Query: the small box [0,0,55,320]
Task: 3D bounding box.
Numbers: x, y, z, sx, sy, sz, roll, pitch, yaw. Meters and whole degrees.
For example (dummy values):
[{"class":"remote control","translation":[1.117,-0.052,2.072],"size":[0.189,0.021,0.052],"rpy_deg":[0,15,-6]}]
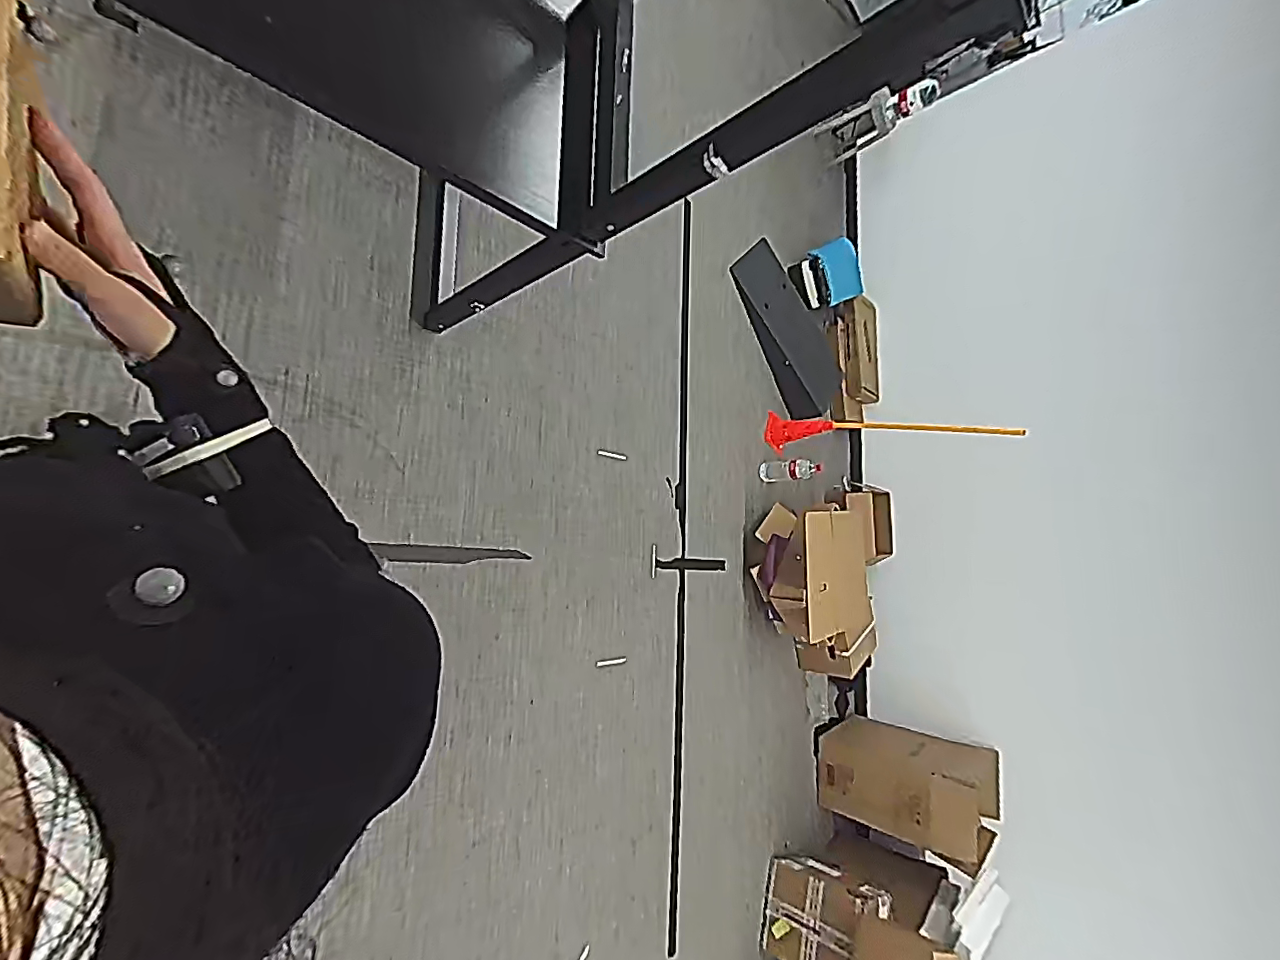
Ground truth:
[{"class":"small box","translation":[-0.409,-0.191,0.260],"size":[0.168,0.176,0.179],"rpy_deg":[1,88,-45]}]
